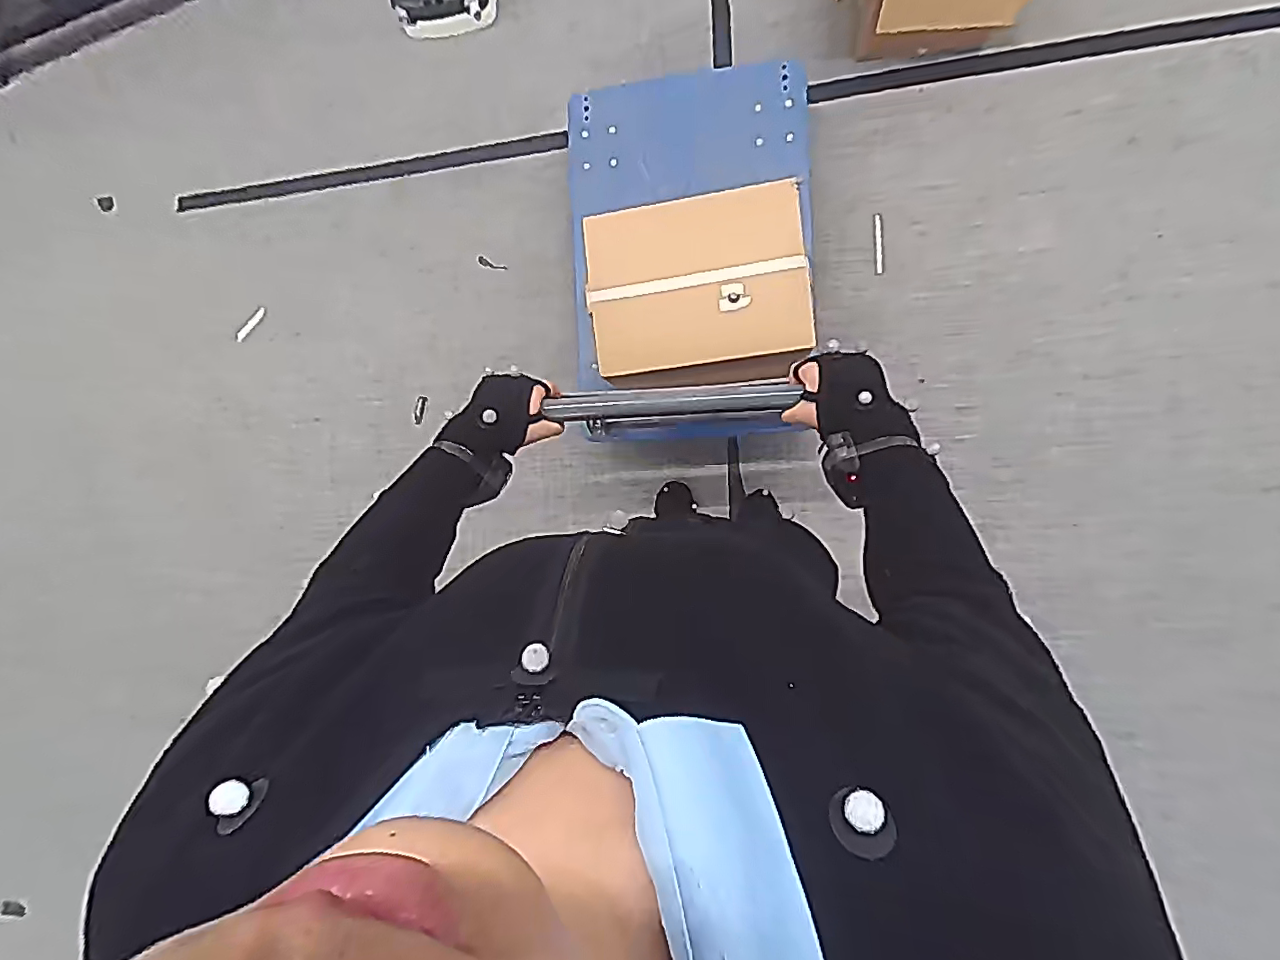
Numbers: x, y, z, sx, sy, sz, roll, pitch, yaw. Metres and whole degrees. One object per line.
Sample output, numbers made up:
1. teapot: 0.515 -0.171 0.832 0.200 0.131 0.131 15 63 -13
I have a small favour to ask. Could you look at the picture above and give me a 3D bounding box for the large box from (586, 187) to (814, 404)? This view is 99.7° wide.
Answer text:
1. large box: 0.125 -0.362 1.165 0.408 0.320 0.320 -7 90 8
